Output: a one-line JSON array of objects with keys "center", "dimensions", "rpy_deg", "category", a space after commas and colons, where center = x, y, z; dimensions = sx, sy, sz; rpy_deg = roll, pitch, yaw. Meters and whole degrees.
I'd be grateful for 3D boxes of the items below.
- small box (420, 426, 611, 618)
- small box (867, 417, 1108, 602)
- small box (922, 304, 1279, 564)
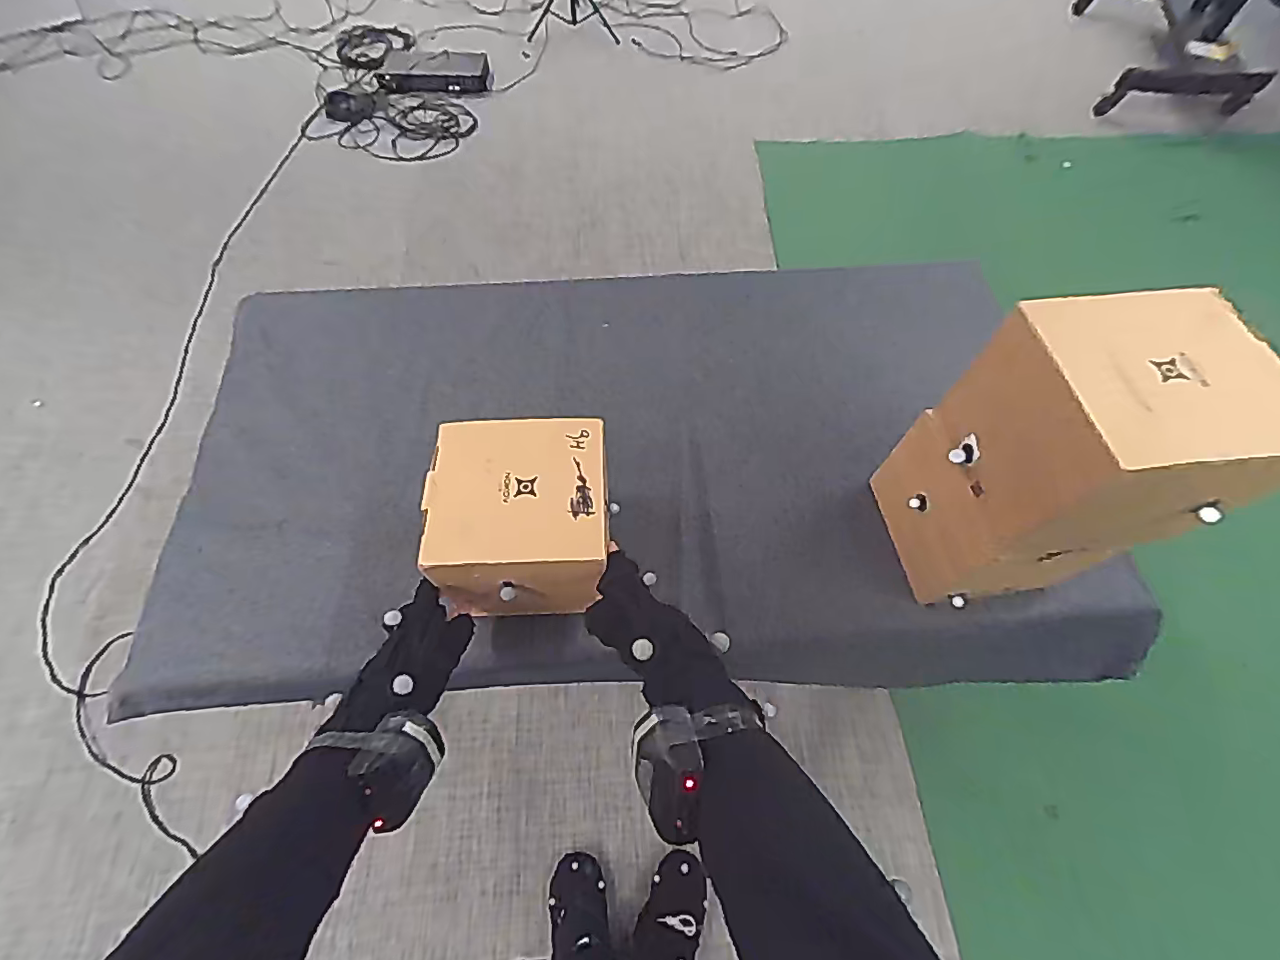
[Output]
[{"center": [-0.125, 0.055, 0.621], "dimensions": [0.179, 0.176, 0.168], "rpy_deg": [-1, 59, -2], "category": "small box"}, {"center": [0.400, 0.037, 0.640], "dimensions": [0.168, 0.176, 0.179], "rpy_deg": [-7, 60, -4], "category": "small box"}, {"center": [0.401, -0.034, 0.495], "dimensions": [0.179, 0.176, 0.168], "rpy_deg": [-6, 60, -2], "category": "small box"}]
